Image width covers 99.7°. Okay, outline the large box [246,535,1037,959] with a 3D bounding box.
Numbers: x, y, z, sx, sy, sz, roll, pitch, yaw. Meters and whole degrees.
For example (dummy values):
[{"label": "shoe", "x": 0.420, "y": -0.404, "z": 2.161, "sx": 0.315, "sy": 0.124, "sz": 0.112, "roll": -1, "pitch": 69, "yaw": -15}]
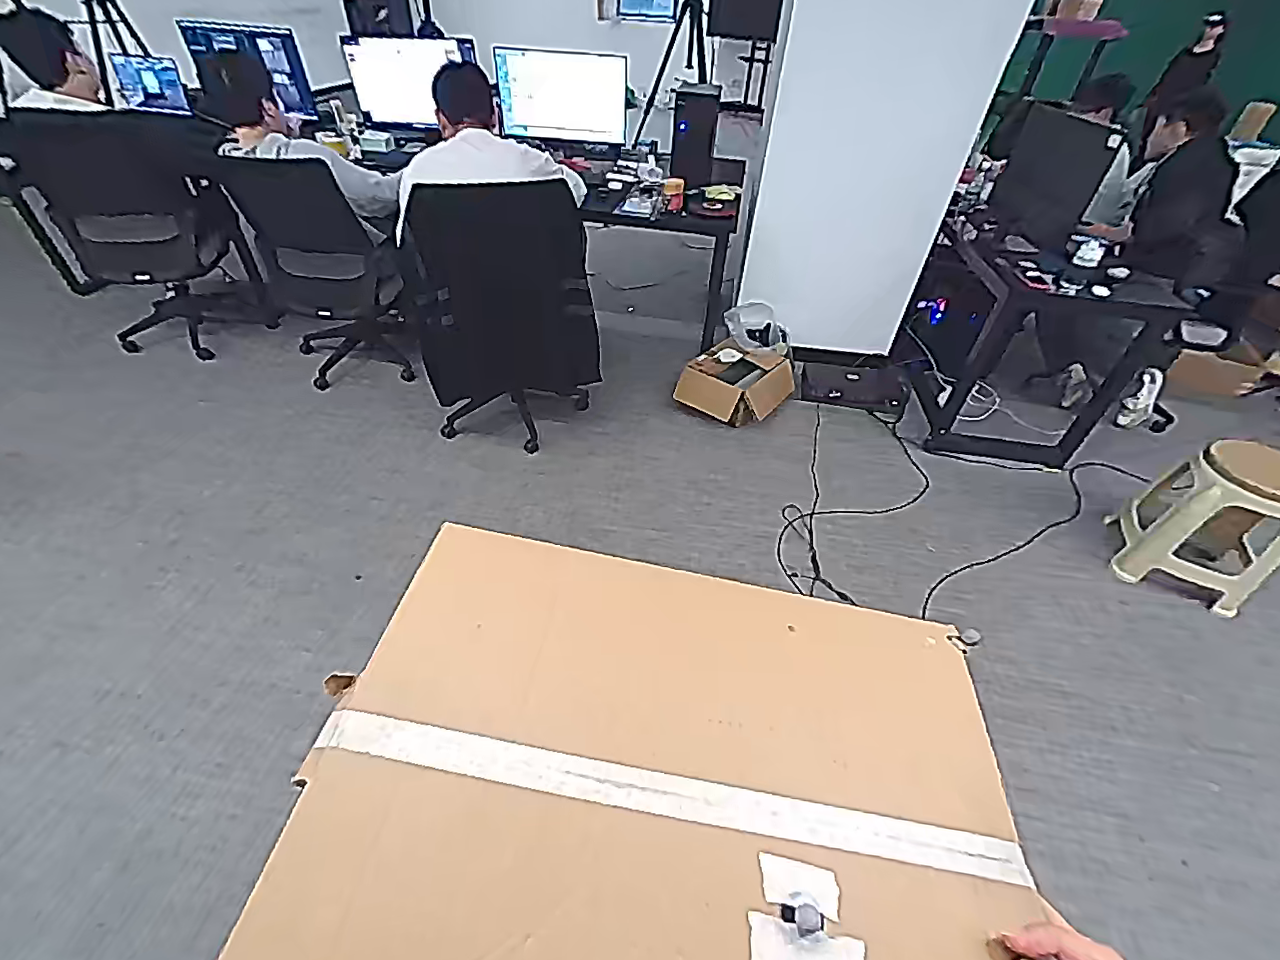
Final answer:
[{"label": "large box", "x": 0.002, "y": 0.289, "z": 0.428, "sx": 0.408, "sy": 0.320, "sz": 0.320, "roll": 13, "pitch": 47, "yaw": -1}]
